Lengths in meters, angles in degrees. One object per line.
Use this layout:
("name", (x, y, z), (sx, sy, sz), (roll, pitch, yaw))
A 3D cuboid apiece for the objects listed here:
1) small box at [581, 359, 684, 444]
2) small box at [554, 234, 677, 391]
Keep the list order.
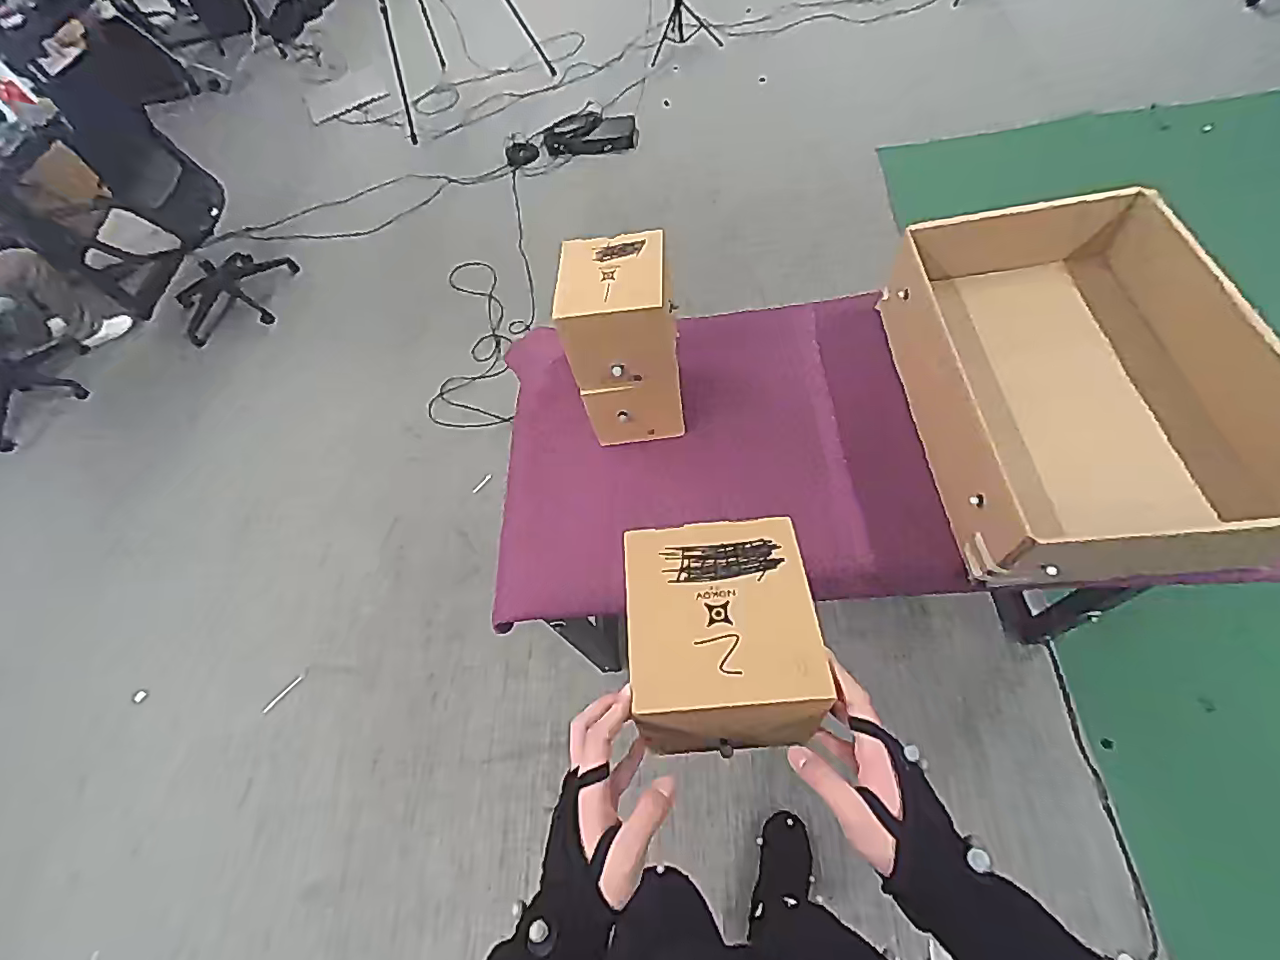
("small box", (-0.010, -0.182, 1.025), (0.168, 0.176, 0.179), (-7, 58, 7))
("small box", (-0.030, -0.269, 0.886), (0.168, 0.176, 0.179), (-3, 60, 9))
